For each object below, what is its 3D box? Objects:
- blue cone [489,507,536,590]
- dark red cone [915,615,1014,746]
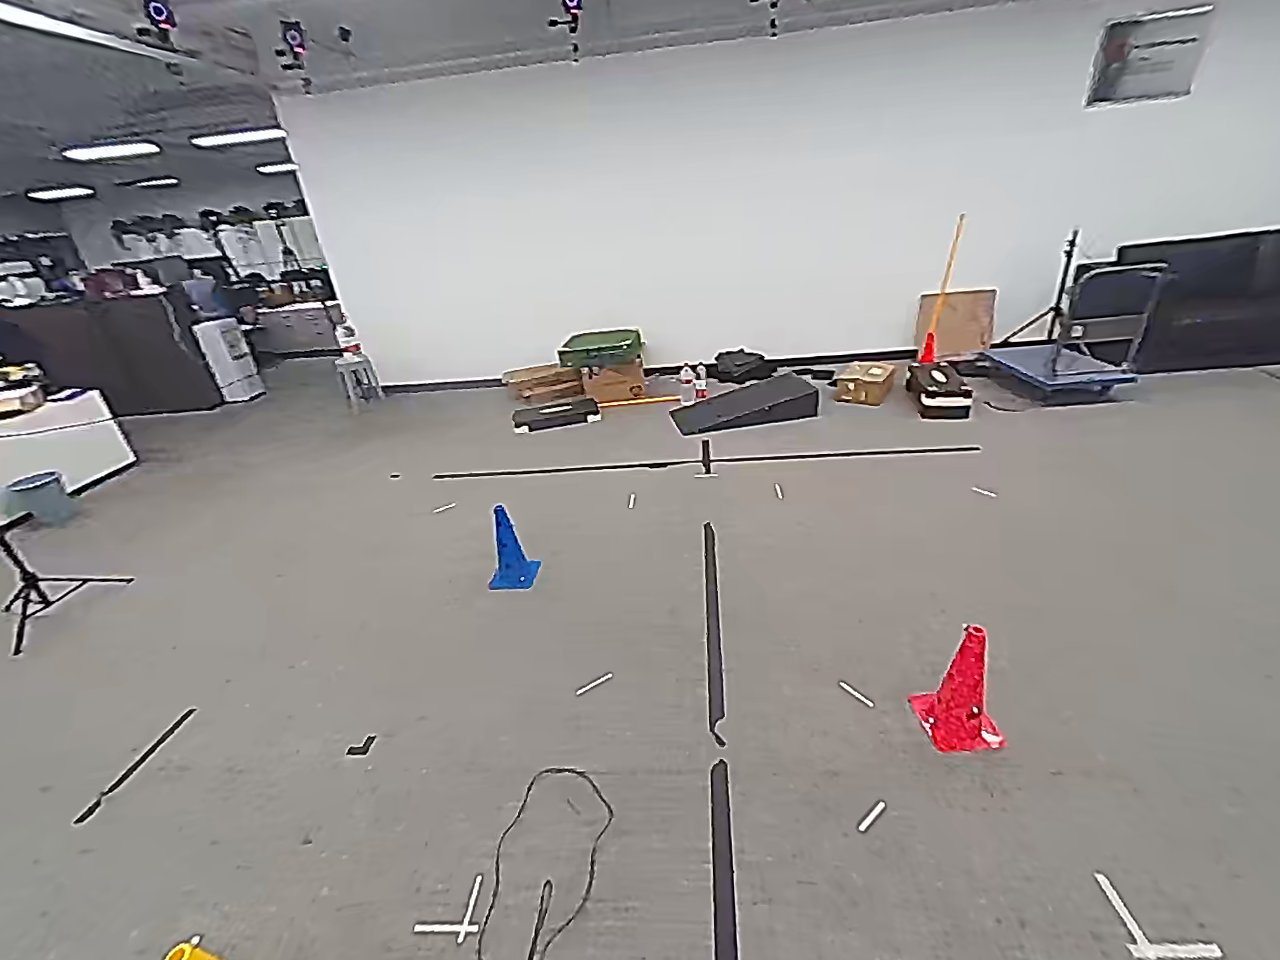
[{"bbox_3d":[-0.590,0.287,2.369,0.192,0.380,0.193,-3,27,8],"label":"blue cone"},{"bbox_3d":[0.920,0.536,1.500,0.201,0.394,0.202,-7,27,0],"label":"dark red cone"}]
